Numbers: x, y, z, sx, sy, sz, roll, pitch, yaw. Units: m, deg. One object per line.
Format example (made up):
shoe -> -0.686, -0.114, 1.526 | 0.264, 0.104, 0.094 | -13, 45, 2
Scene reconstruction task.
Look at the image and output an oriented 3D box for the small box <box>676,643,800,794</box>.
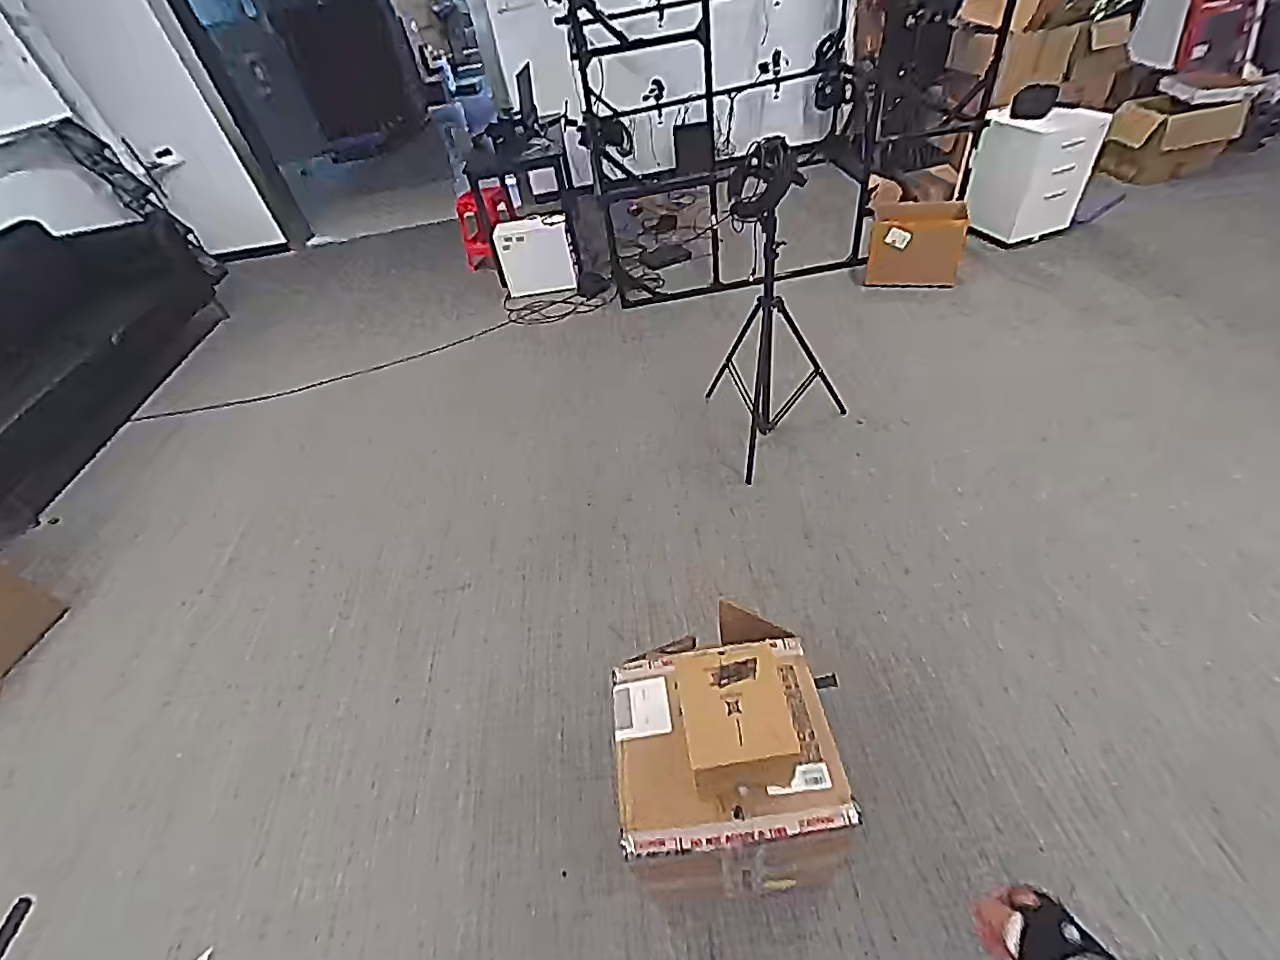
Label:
small box -> 0.157, 0.403, 0.913 | 0.168, 0.176, 0.179 | -10, 47, 1
